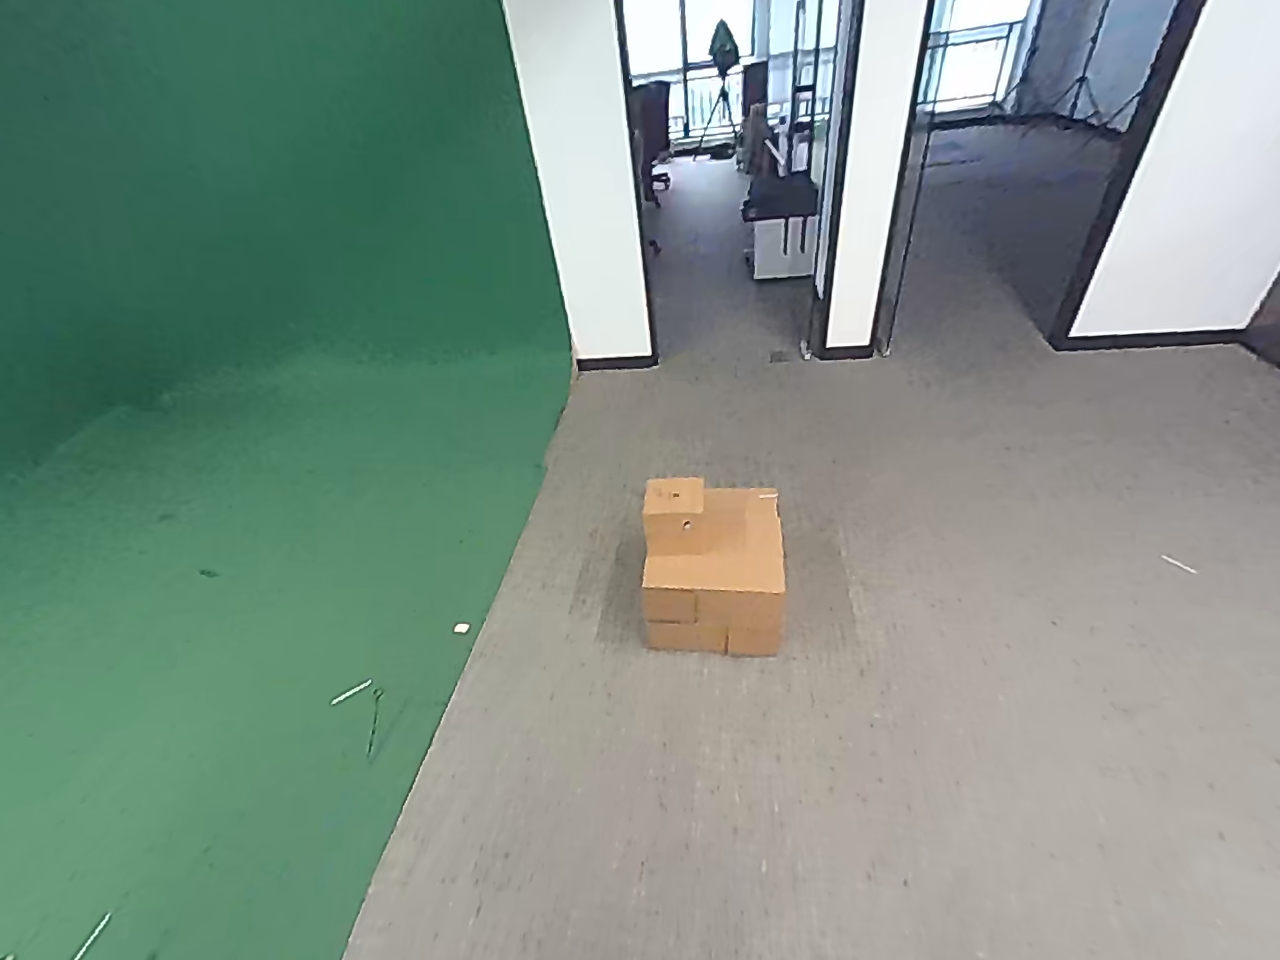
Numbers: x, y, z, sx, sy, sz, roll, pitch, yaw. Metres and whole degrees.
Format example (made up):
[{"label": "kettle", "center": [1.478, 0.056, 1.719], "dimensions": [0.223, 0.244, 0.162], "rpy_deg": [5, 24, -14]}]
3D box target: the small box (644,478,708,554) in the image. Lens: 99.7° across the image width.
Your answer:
[{"label": "small box", "center": [0.115, 0.110, 1.637], "dimensions": [0.179, 0.176, 0.168], "rpy_deg": [-2, 37, 10]}]
